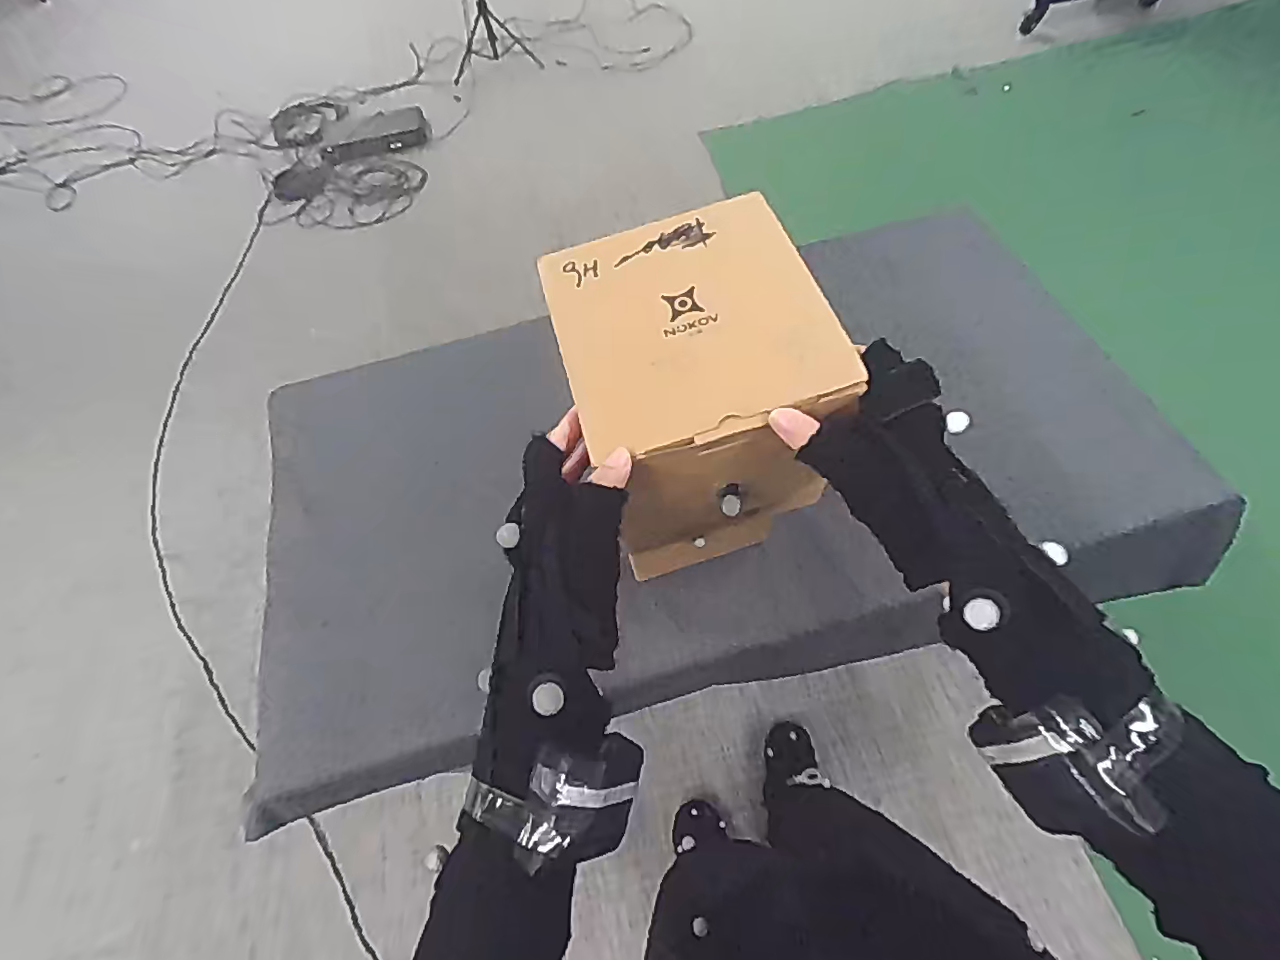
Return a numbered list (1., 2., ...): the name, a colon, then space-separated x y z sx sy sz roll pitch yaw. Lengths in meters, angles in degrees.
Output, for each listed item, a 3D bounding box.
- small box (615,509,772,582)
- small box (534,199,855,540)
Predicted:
1. small box: 0.047 0.000 0.646 0.179 0.176 0.168 -19 62 -6
2. small box: 0.035 -0.066 0.412 0.168 0.176 0.179 -17 65 -1
